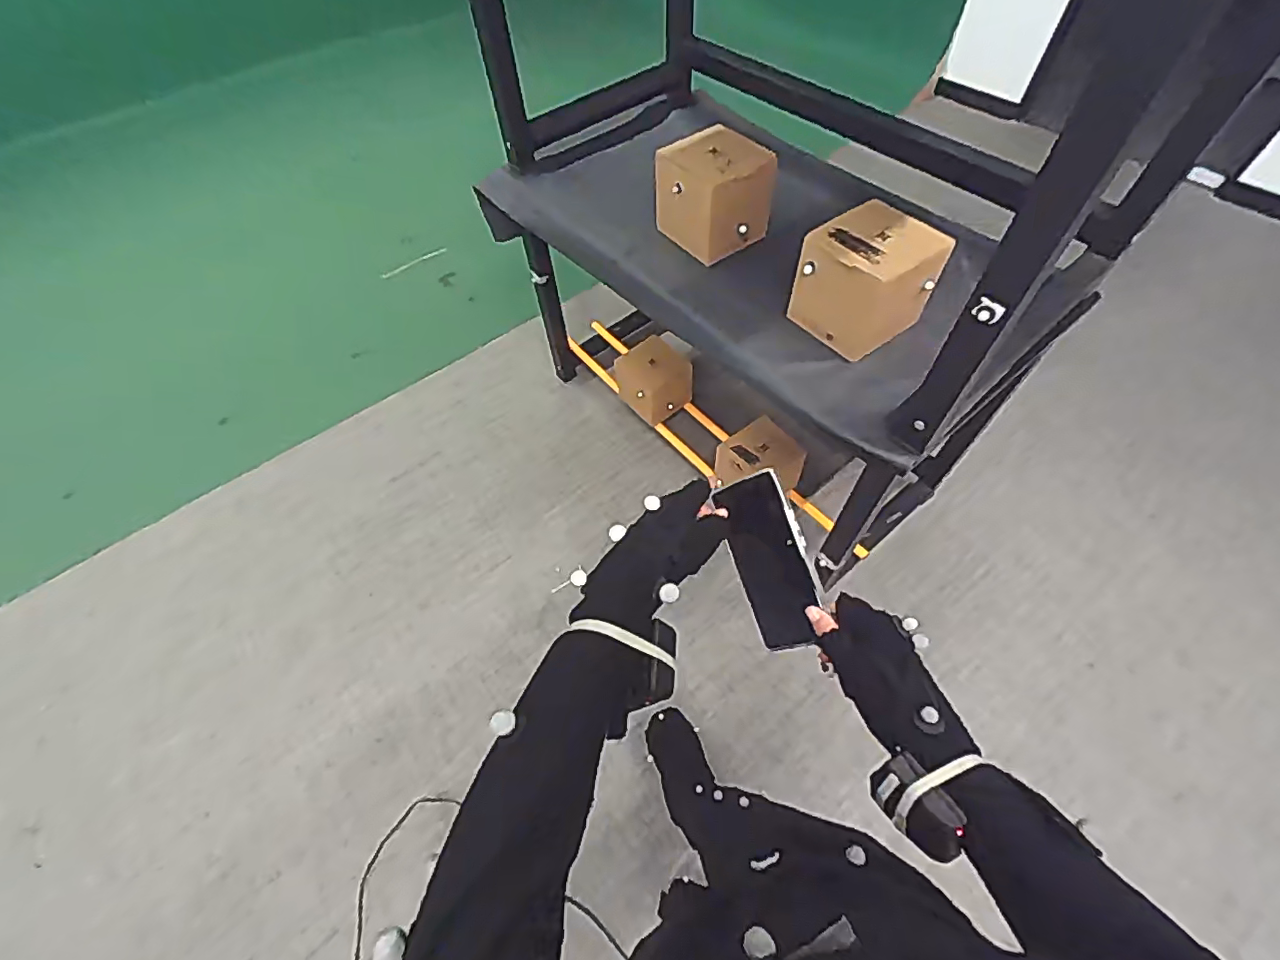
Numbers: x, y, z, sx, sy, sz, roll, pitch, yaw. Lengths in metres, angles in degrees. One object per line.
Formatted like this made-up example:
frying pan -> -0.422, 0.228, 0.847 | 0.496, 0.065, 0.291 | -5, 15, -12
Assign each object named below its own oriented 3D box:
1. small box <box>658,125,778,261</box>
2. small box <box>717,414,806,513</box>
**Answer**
small box -> 0.151, -0.584, 1.108 | 0.168, 0.176, 0.179 | -33, 62, -17
small box -> 0.327, -0.040, 1.490 | 0.179, 0.176, 0.168 | -33, 62, -16
